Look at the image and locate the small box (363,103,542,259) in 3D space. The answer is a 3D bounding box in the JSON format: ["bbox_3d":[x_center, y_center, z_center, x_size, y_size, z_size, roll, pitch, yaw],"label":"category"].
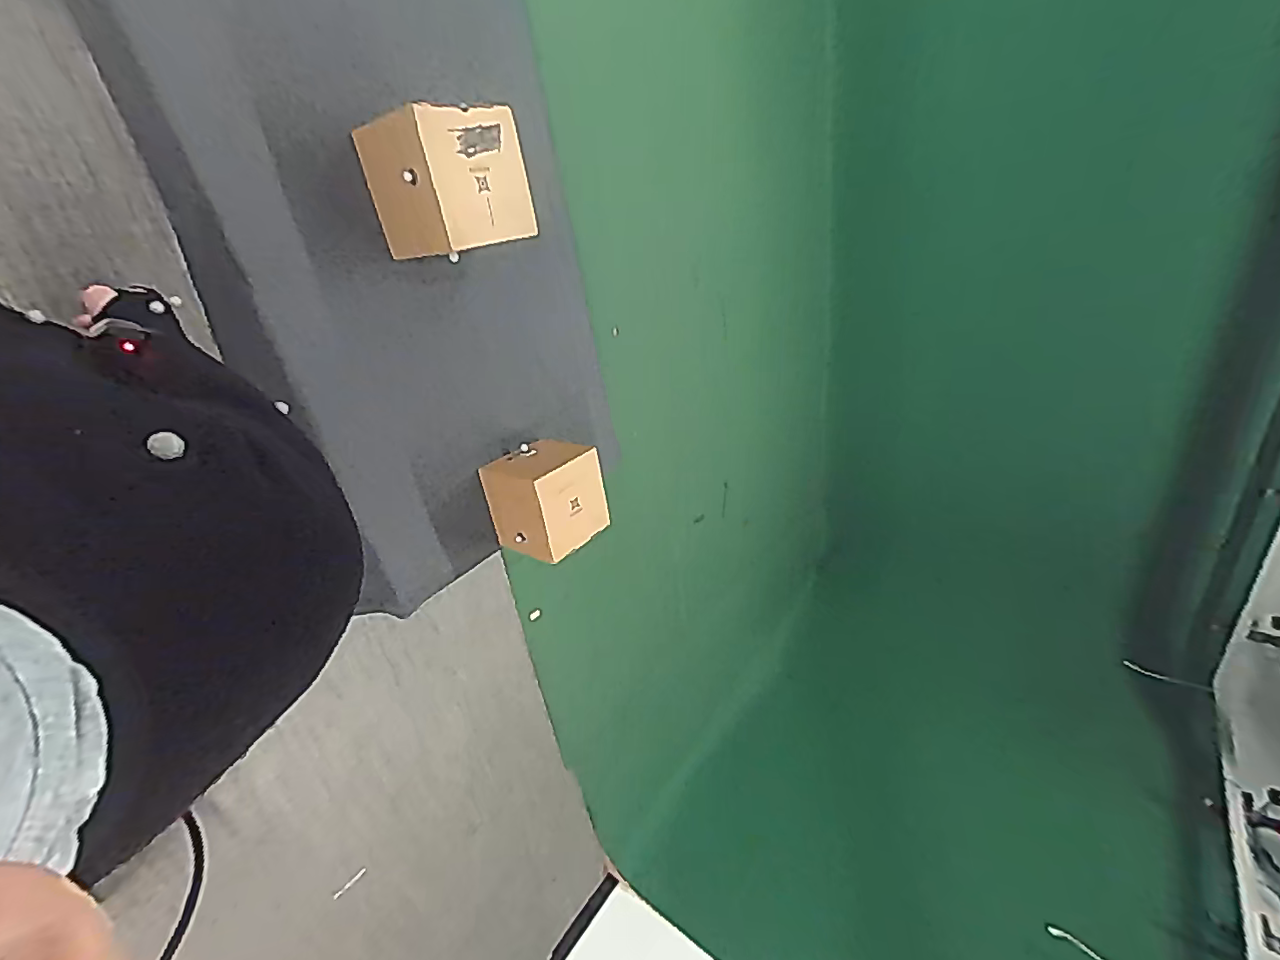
[{"bbox_3d":[-0.279,-0.441,0.810,0.168,0.176,0.179,-35,127,-40],"label":"small box"}]

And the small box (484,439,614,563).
[{"bbox_3d":[-0.178,0.033,1.072,0.168,0.176,0.179,-35,125,-42],"label":"small box"}]
